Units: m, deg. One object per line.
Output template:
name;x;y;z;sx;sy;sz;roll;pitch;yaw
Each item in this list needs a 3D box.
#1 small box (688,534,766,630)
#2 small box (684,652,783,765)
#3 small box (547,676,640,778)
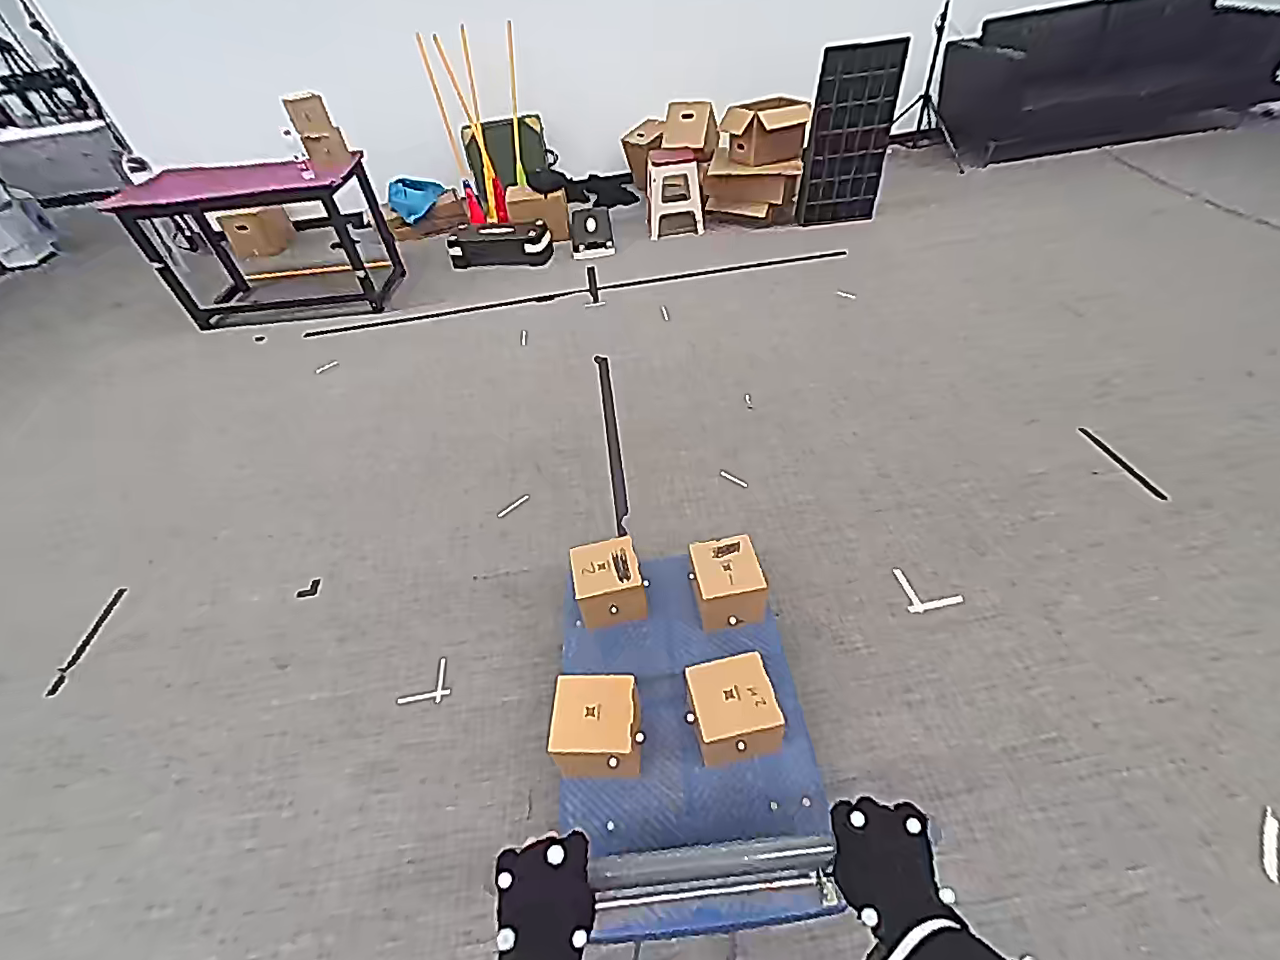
small box;0.227;0.275;1.449;0.168;0.176;0.179;-11;46;-2
small box;0.205;0.517;1.214;0.179;0.176;0.168;-12;46;-4
small box;-0.096;0.557;1.217;0.179;0.176;0.168;-2;45;4
